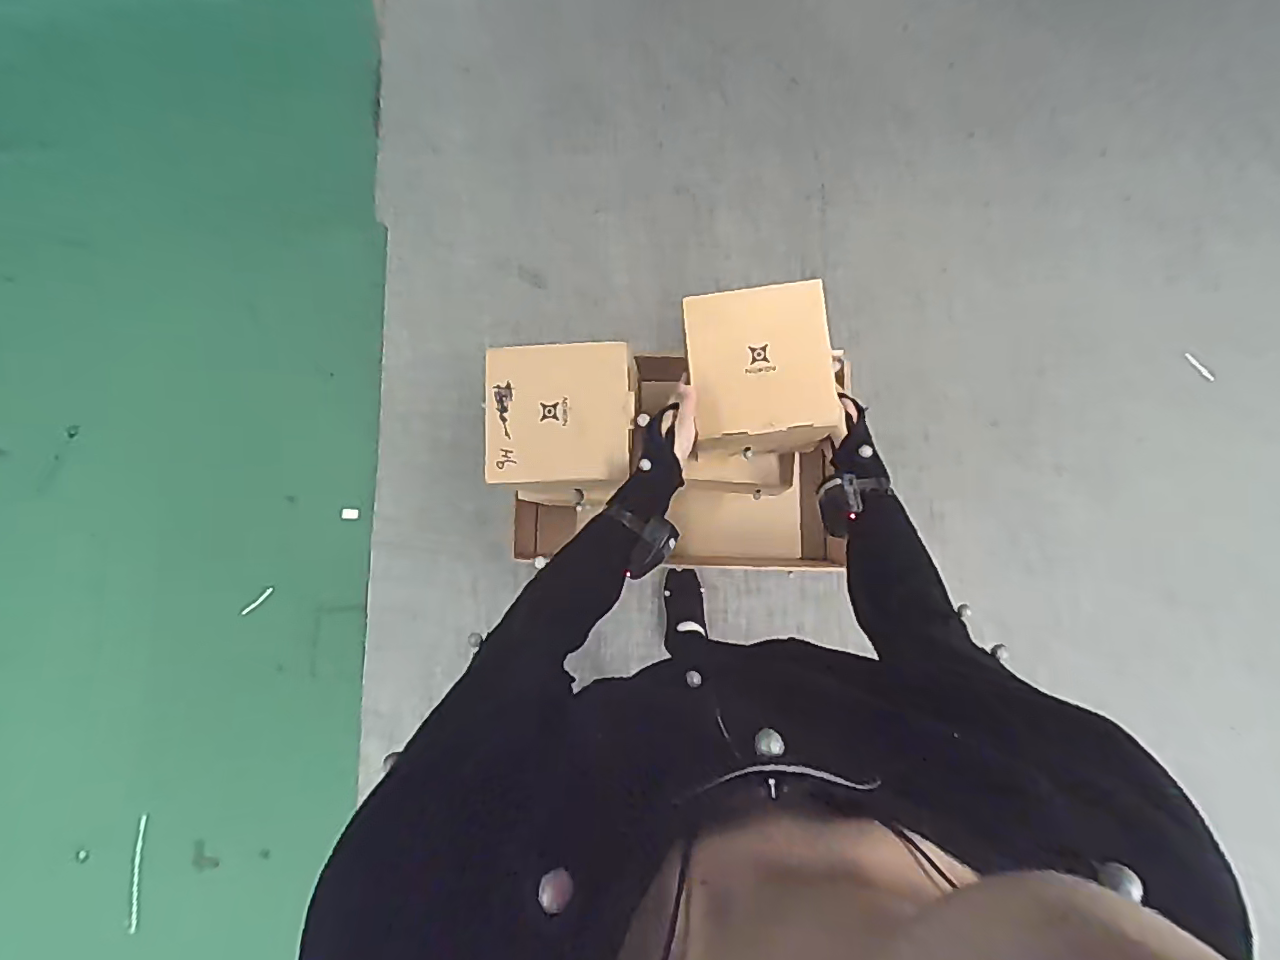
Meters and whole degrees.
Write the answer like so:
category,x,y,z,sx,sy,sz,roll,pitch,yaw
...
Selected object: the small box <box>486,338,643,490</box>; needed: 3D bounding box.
category,x,y,z,sx,sy,sz,roll,pitch,yaw
small box,-0.087,-0.077,0.704,0.179,0.176,0.168,-1,84,5
